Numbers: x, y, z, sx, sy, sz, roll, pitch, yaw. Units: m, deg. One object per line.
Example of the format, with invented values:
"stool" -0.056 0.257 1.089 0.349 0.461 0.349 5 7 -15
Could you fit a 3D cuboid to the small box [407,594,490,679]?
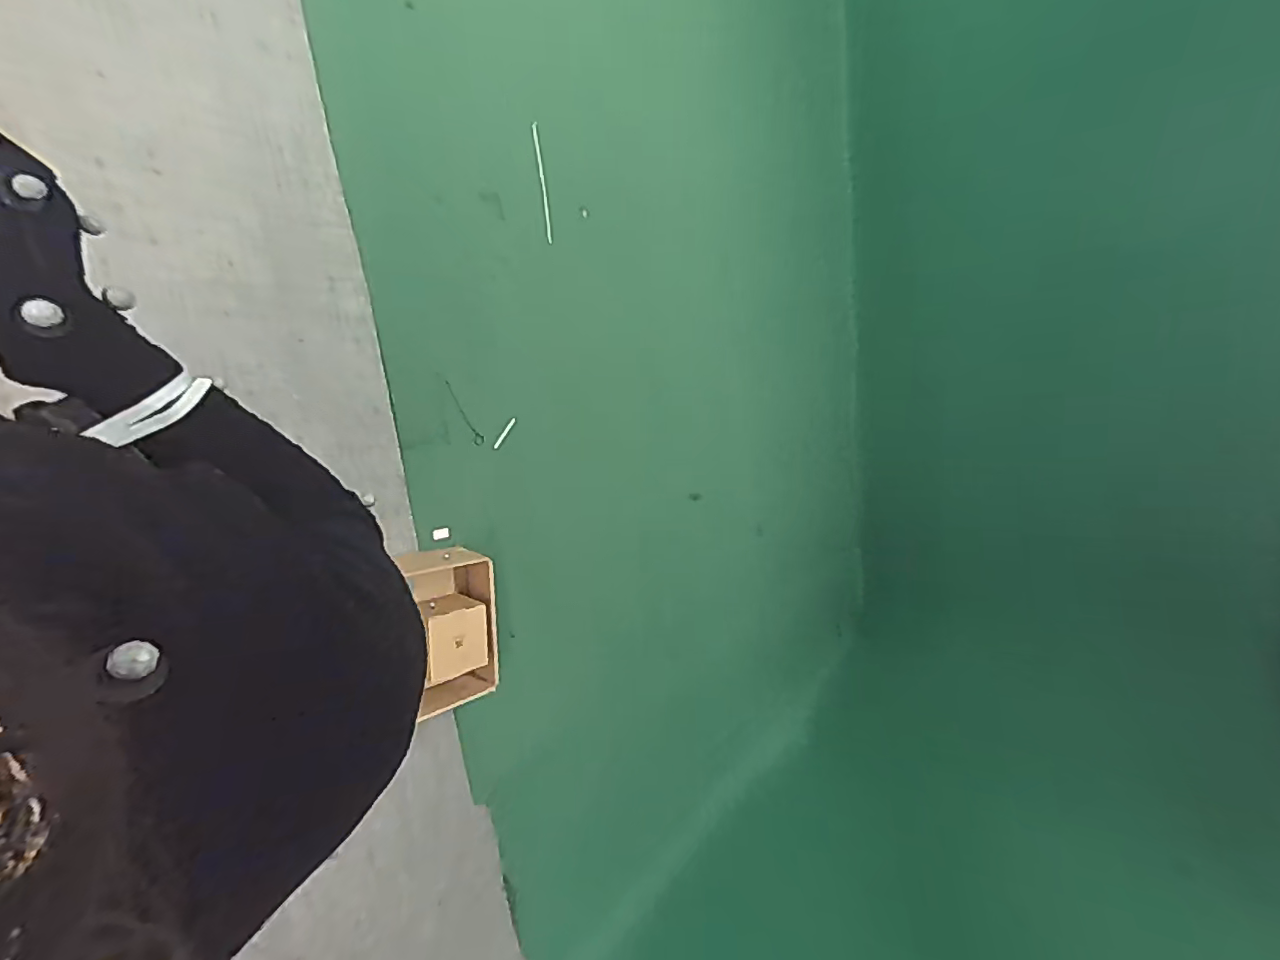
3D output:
"small box" -0.537 0.426 1.513 0.168 0.176 0.179 -5 97 -44
